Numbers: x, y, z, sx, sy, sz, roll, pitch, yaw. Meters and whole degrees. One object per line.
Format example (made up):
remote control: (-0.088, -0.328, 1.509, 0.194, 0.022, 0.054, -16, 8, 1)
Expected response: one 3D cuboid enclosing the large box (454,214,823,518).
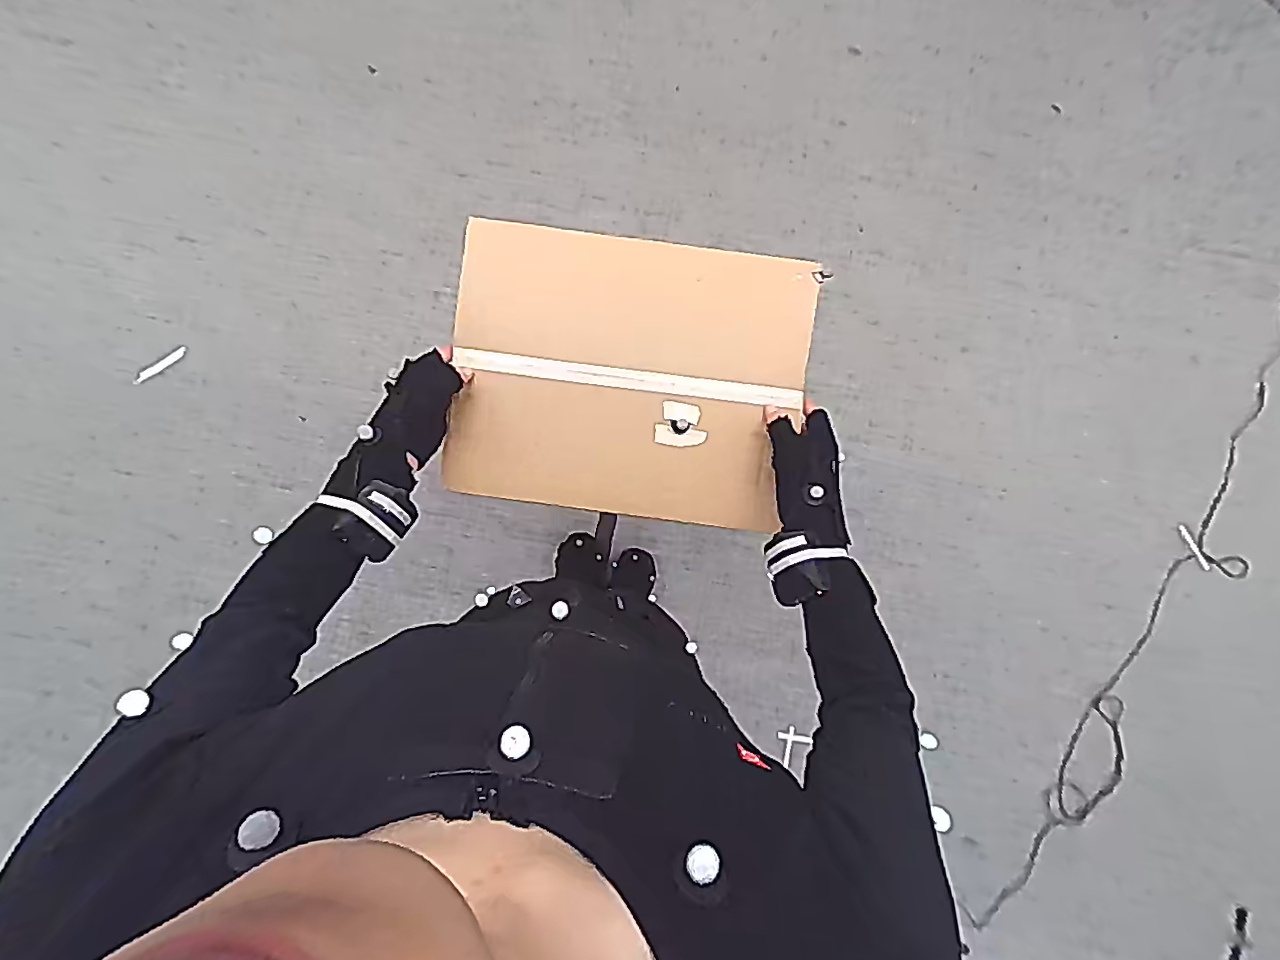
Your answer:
large box: (-0.007, -0.137, 0.767, 0.408, 0.320, 0.320, 7, 95, -1)
